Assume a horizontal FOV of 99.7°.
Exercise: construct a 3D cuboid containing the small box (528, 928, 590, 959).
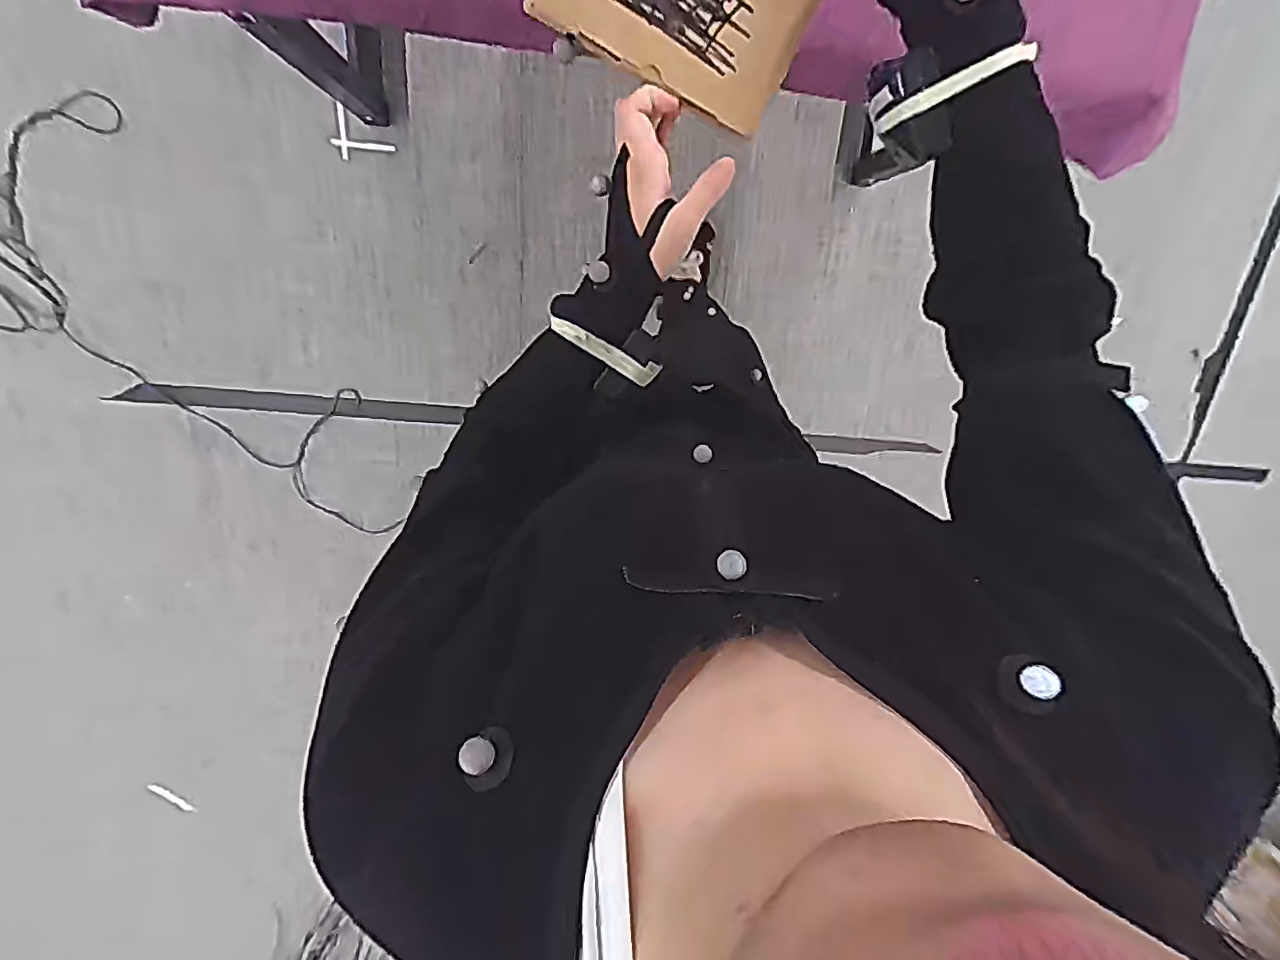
[{"bbox_3d":[-0.232,1.435,1.554,0.179,0.176,0.168,-1,105,-6],"label":"small box"}]
